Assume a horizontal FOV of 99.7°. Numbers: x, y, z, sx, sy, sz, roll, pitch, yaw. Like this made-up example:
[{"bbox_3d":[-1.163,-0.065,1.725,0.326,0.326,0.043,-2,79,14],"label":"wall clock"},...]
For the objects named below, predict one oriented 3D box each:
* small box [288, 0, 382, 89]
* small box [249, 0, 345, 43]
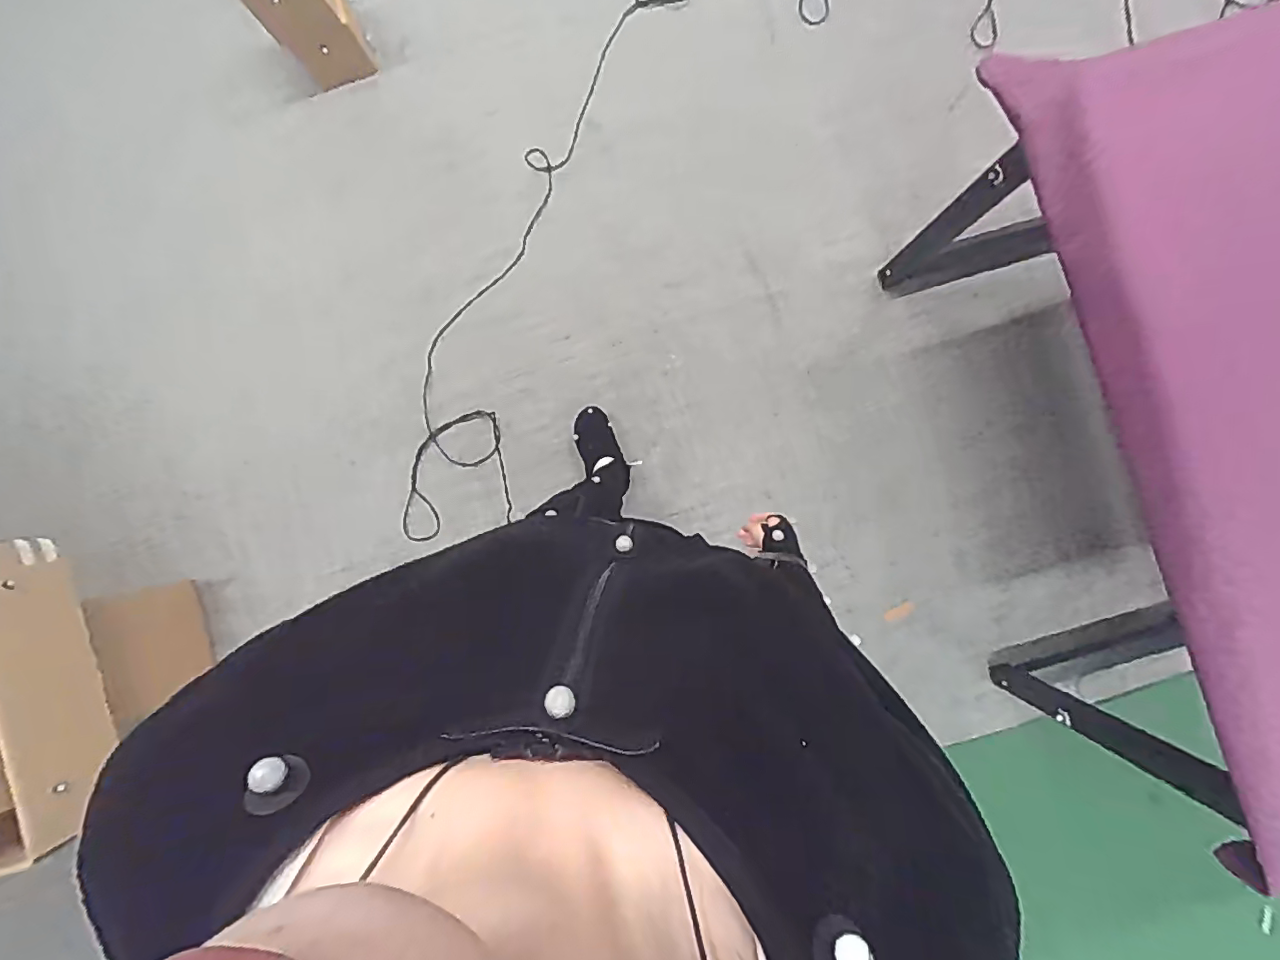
[{"bbox_3d":[-0.843,-1.217,1.470,0.179,0.176,0.168,-18,89,1],"label":"small box"},{"bbox_3d":[-0.859,-1.215,1.306,0.179,0.176,0.168,-18,90,2],"label":"small box"}]
